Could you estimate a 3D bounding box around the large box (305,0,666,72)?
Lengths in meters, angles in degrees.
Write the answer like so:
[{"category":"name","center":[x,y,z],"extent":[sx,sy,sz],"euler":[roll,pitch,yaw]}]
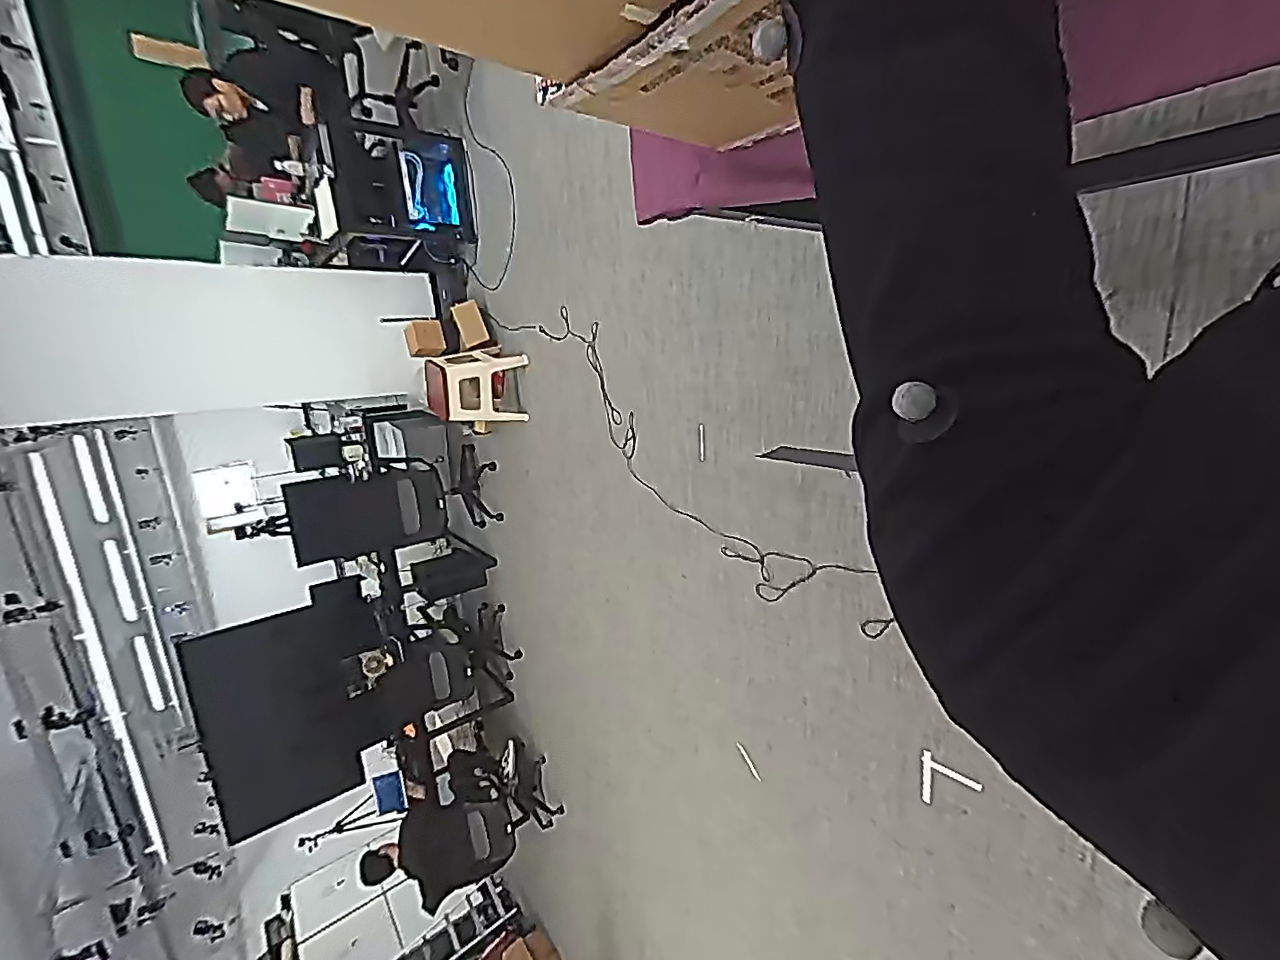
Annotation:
[{"category":"large box","center":[-0.112,-0.591,0.355],"extent":[0.320,0.320,0.408],"euler":[14,113,53]}]
